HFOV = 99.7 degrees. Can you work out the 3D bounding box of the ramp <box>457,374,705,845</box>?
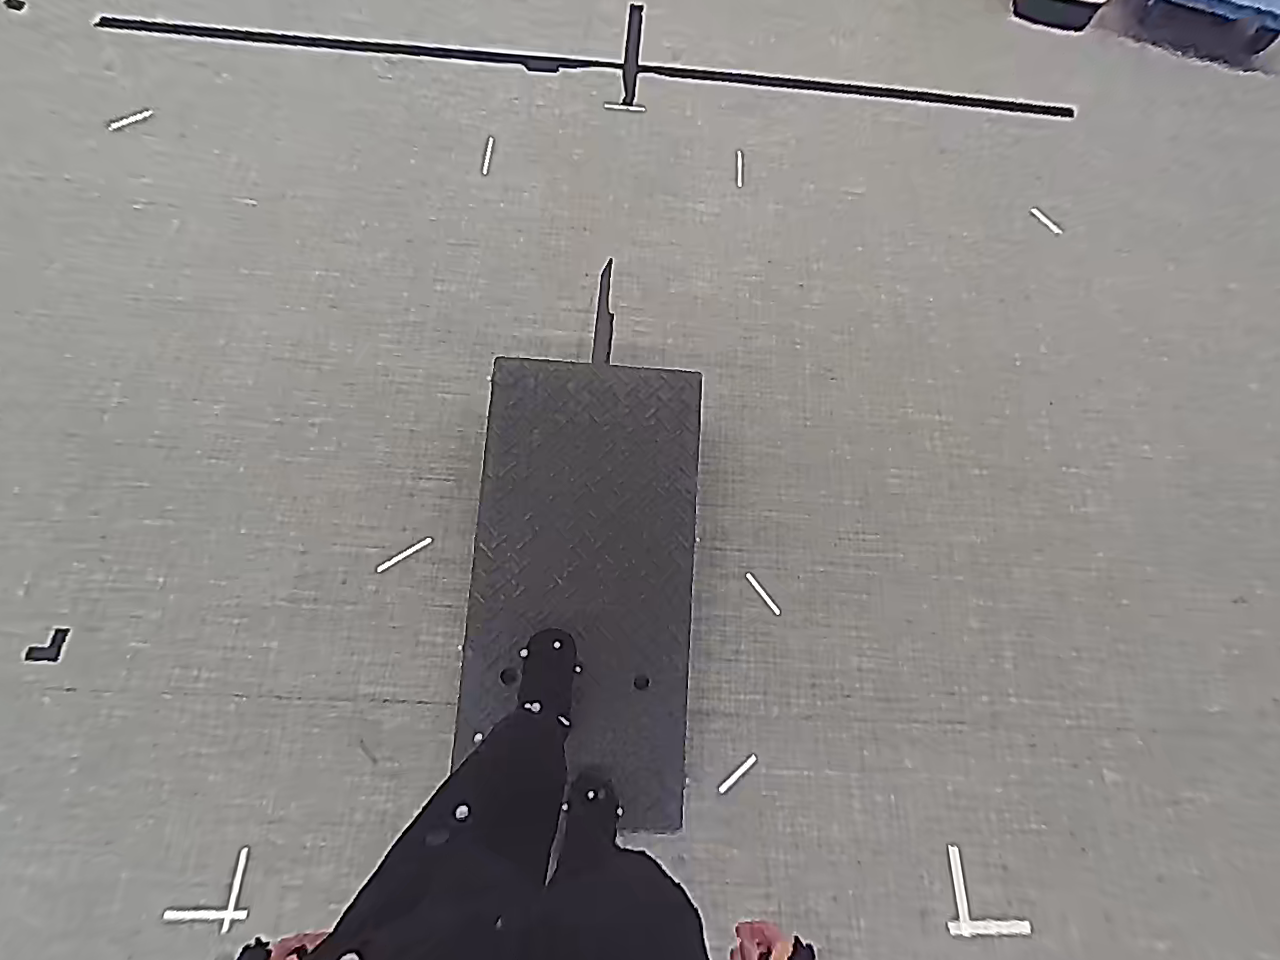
[{"bbox_3d":[-0.108,0.253,1.195,0.509,0.206,0.991,2,70,-4],"label":"ramp"}]
